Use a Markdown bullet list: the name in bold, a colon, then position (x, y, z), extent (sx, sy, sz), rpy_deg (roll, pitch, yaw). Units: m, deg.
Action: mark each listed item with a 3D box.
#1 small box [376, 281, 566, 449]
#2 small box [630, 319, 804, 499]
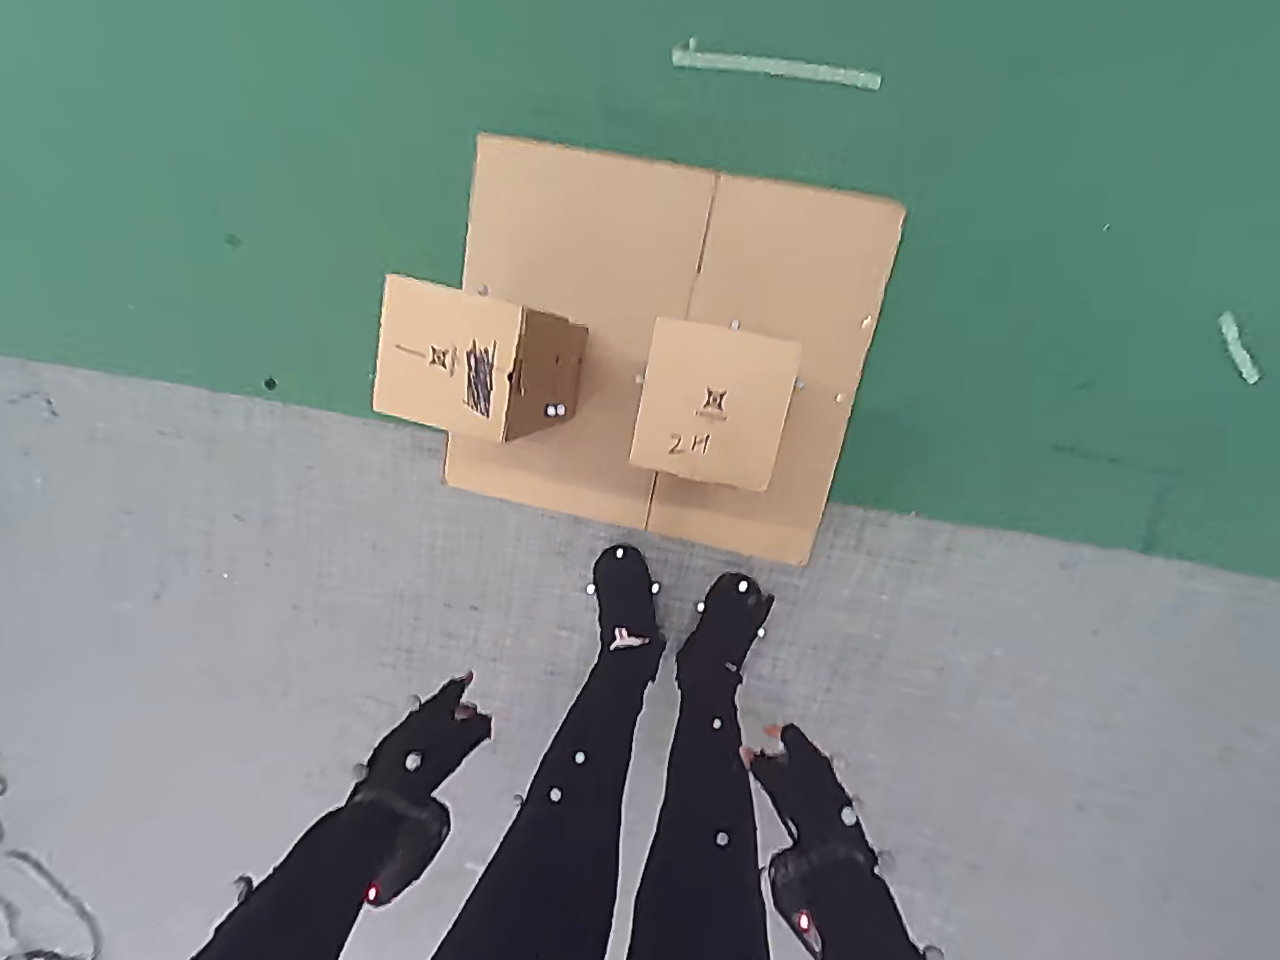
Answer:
- **small box**: position (-0.213, -0.151, 0.718), extent (0.179, 0.176, 0.168), rpy_deg (15, 104, 7)
- **small box**: position (0.094, -0.094, 0.688), extent (0.168, 0.176, 0.179), rpy_deg (13, 103, 6)
